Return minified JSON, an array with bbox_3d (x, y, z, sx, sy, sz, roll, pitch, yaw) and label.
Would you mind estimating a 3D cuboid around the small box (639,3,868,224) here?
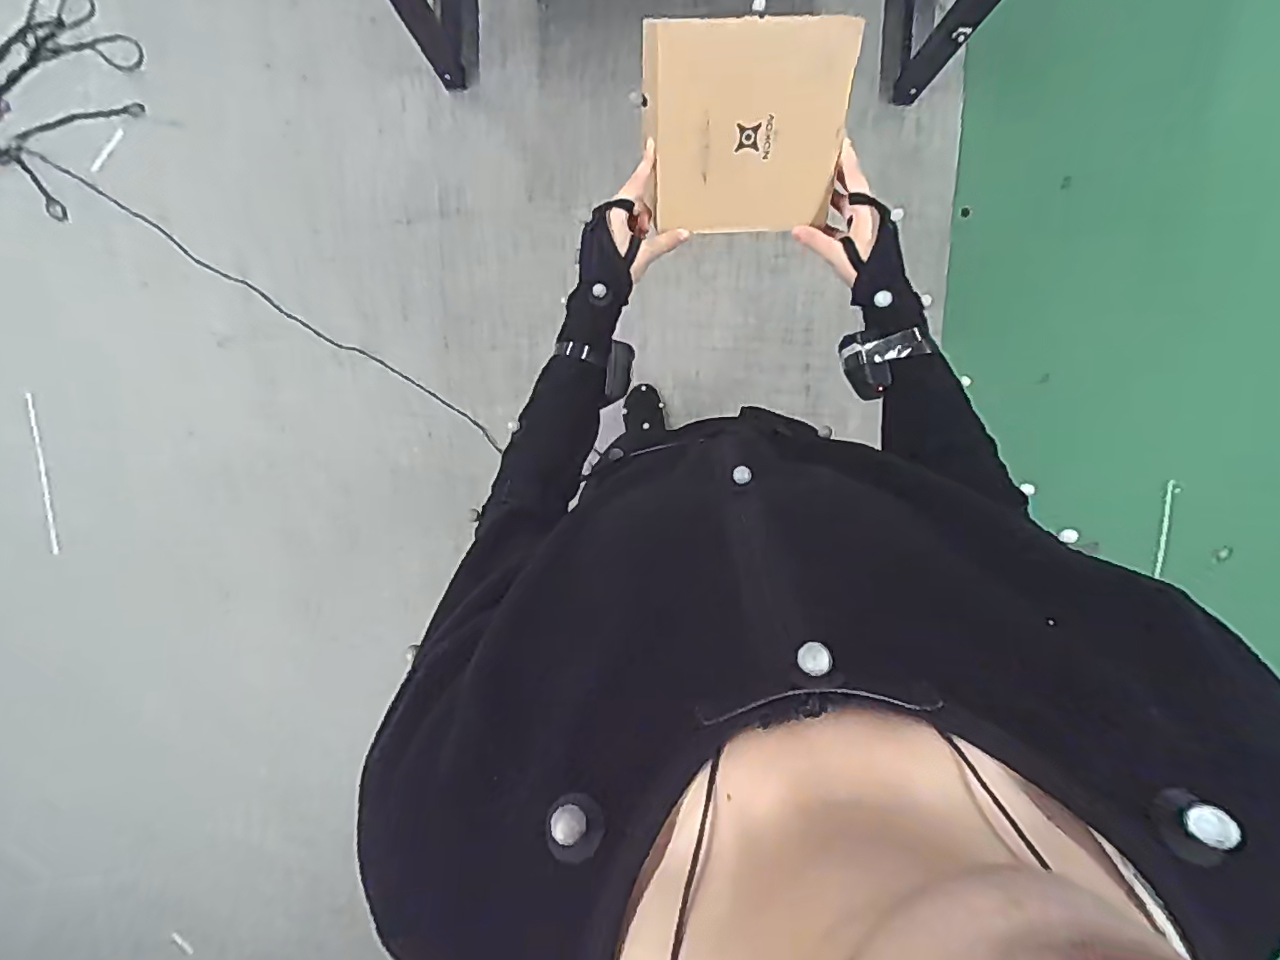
[{"bbox_3d":[0.093,-0.367,0.542,0.179,0.176,0.168,-2,130,-3],"label":"small box"}]
